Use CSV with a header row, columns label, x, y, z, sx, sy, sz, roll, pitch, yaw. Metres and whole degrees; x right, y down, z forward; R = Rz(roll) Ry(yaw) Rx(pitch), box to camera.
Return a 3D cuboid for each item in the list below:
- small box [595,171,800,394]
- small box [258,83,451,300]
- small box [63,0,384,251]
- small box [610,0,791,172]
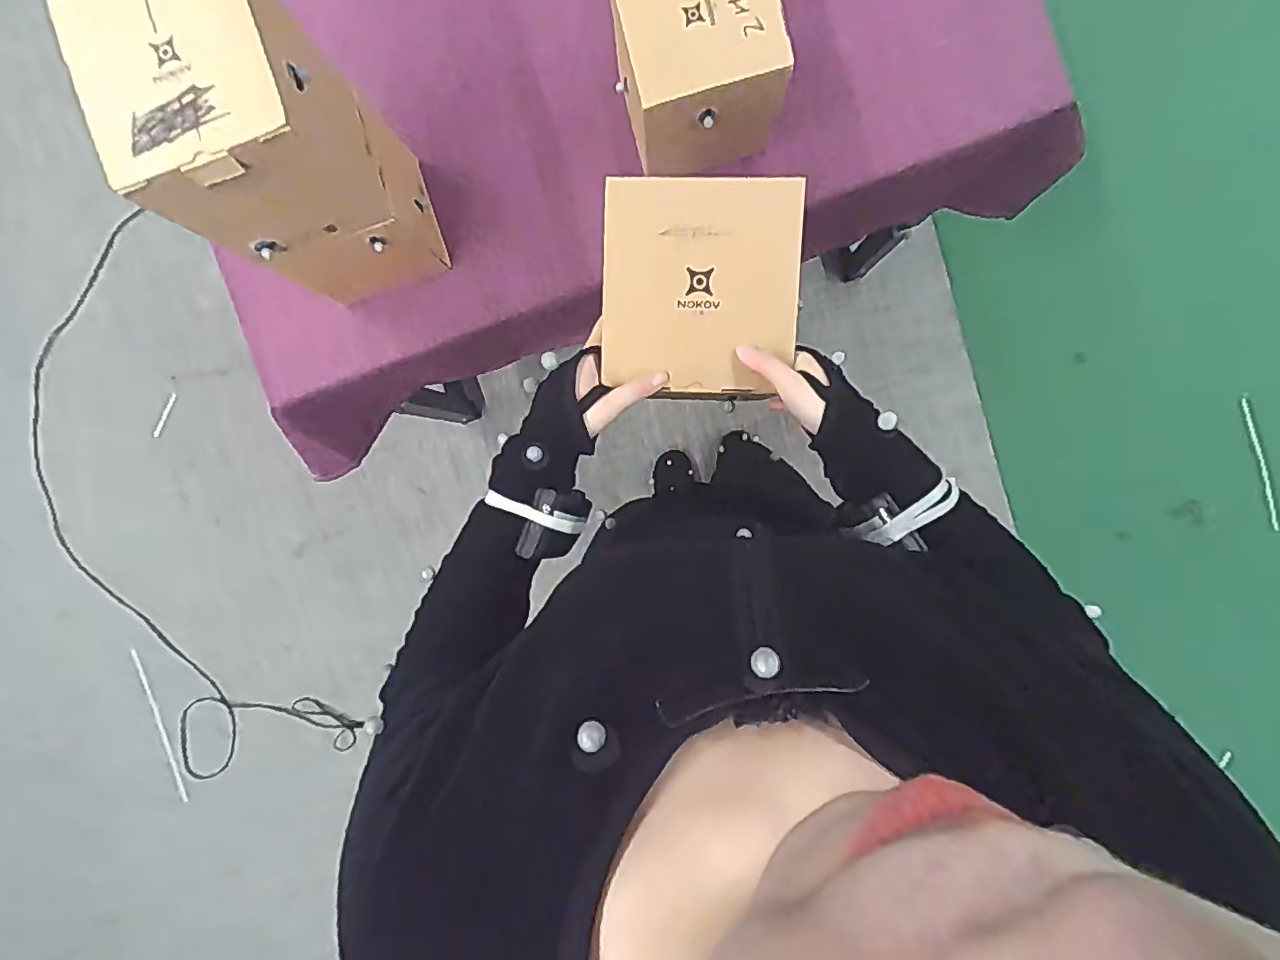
label,x,y,z,sx,sy,sz,roll,pitch,yaw
small box,0.053,-0.177,0.534,0.168,0.176,0.179,3,97,4
small box,-0.380,-0.357,0.708,0.179,0.176,0.168,-18,91,3
small box,-0.392,-0.355,0.544,0.168,0.176,0.179,-19,90,3
small box,0.070,-0.514,0.673,0.179,0.176,0.168,-14,92,4
